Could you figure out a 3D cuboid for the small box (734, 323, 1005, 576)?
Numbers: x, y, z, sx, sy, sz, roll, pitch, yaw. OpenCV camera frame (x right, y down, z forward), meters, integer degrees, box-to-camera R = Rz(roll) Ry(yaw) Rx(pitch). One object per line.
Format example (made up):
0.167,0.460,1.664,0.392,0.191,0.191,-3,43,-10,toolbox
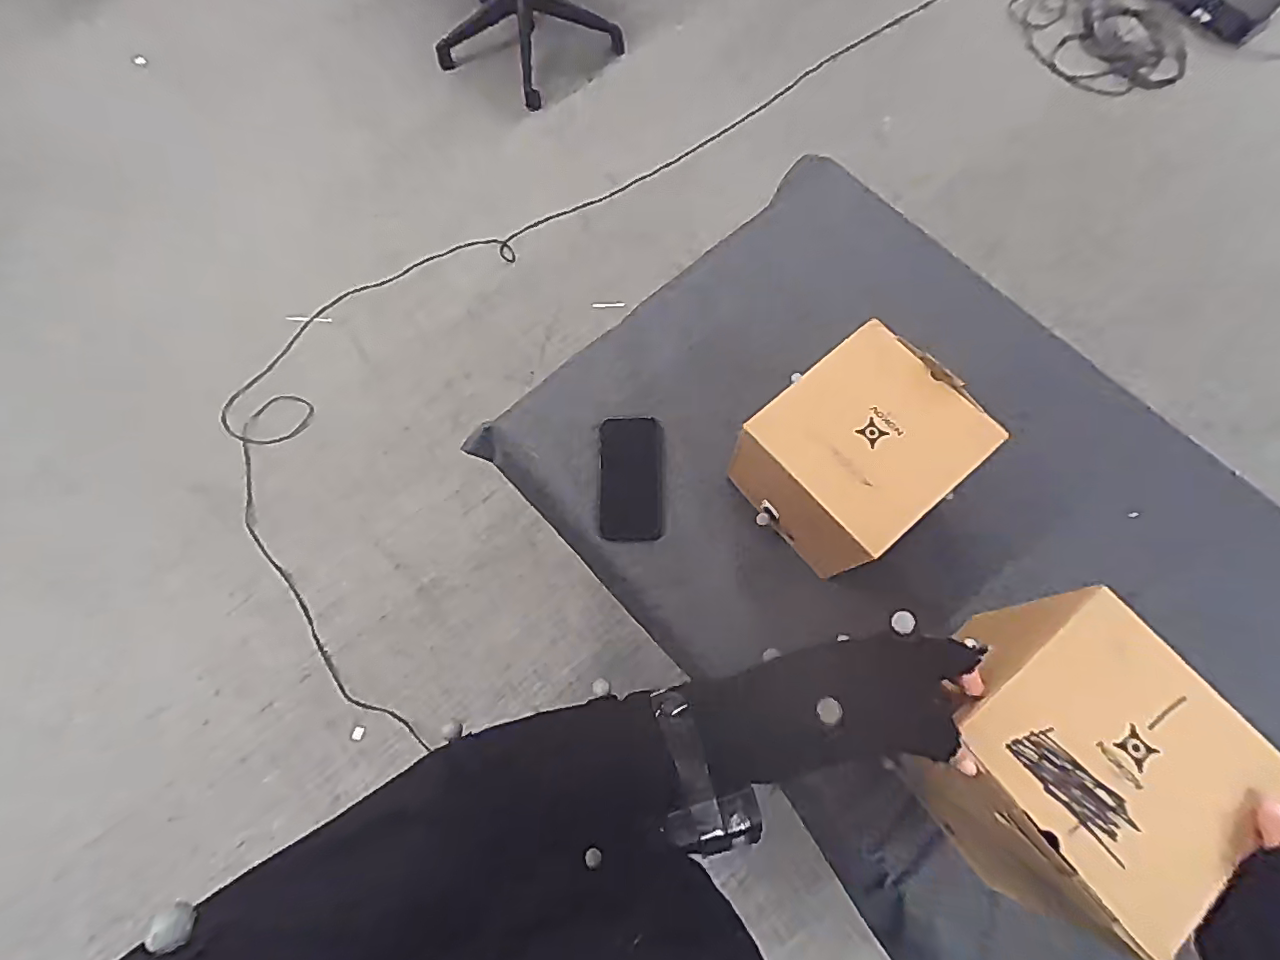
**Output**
0.216,-0.020,0.568,0.179,0.176,0.168,-40,74,-7,small box
